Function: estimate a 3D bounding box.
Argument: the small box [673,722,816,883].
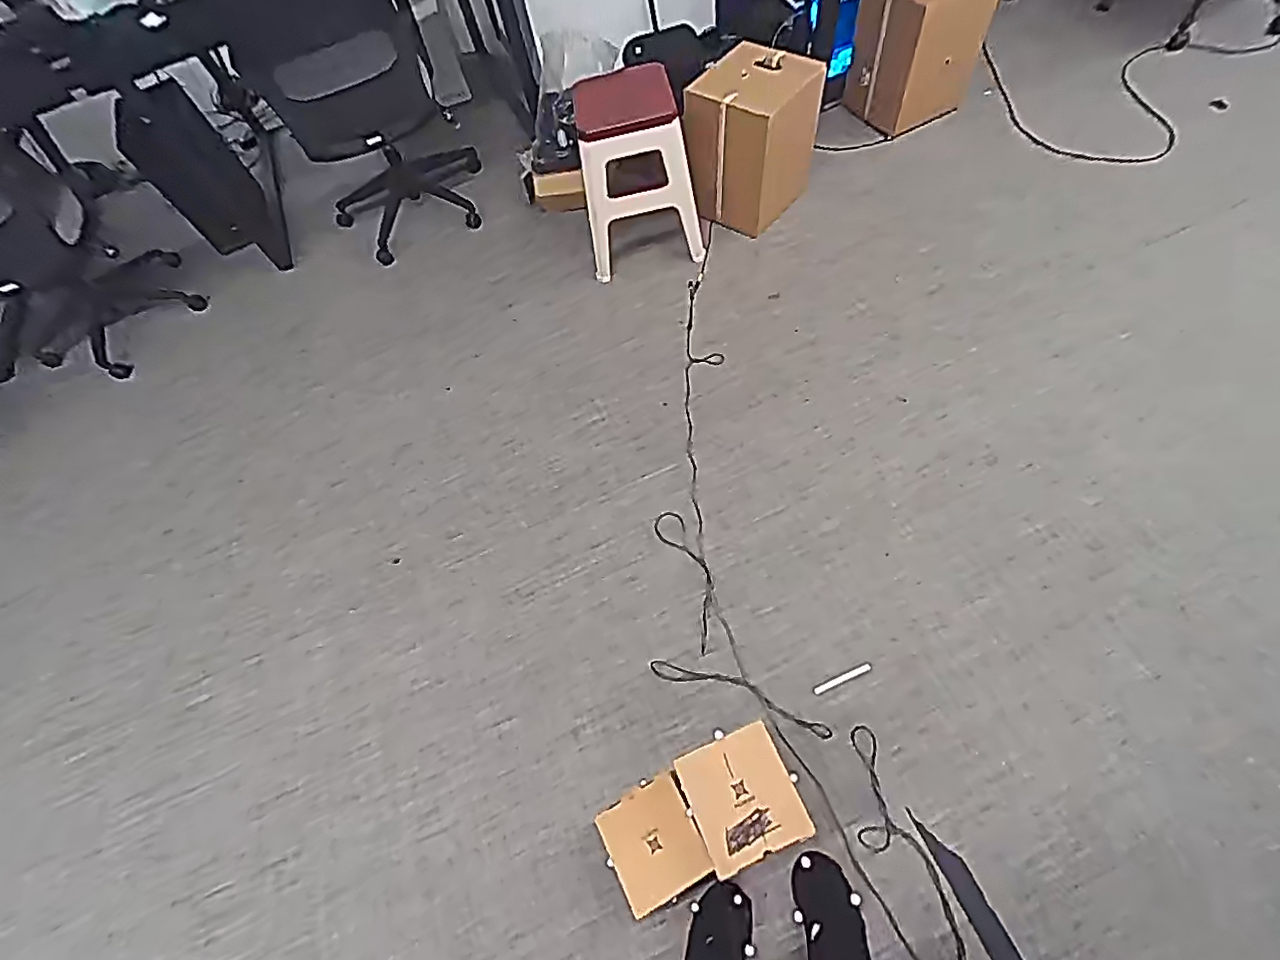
[{"bbox_3d":[0.172,0.533,0.913,0.168,0.176,0.179,-24,60,-4],"label":"small box"}]
